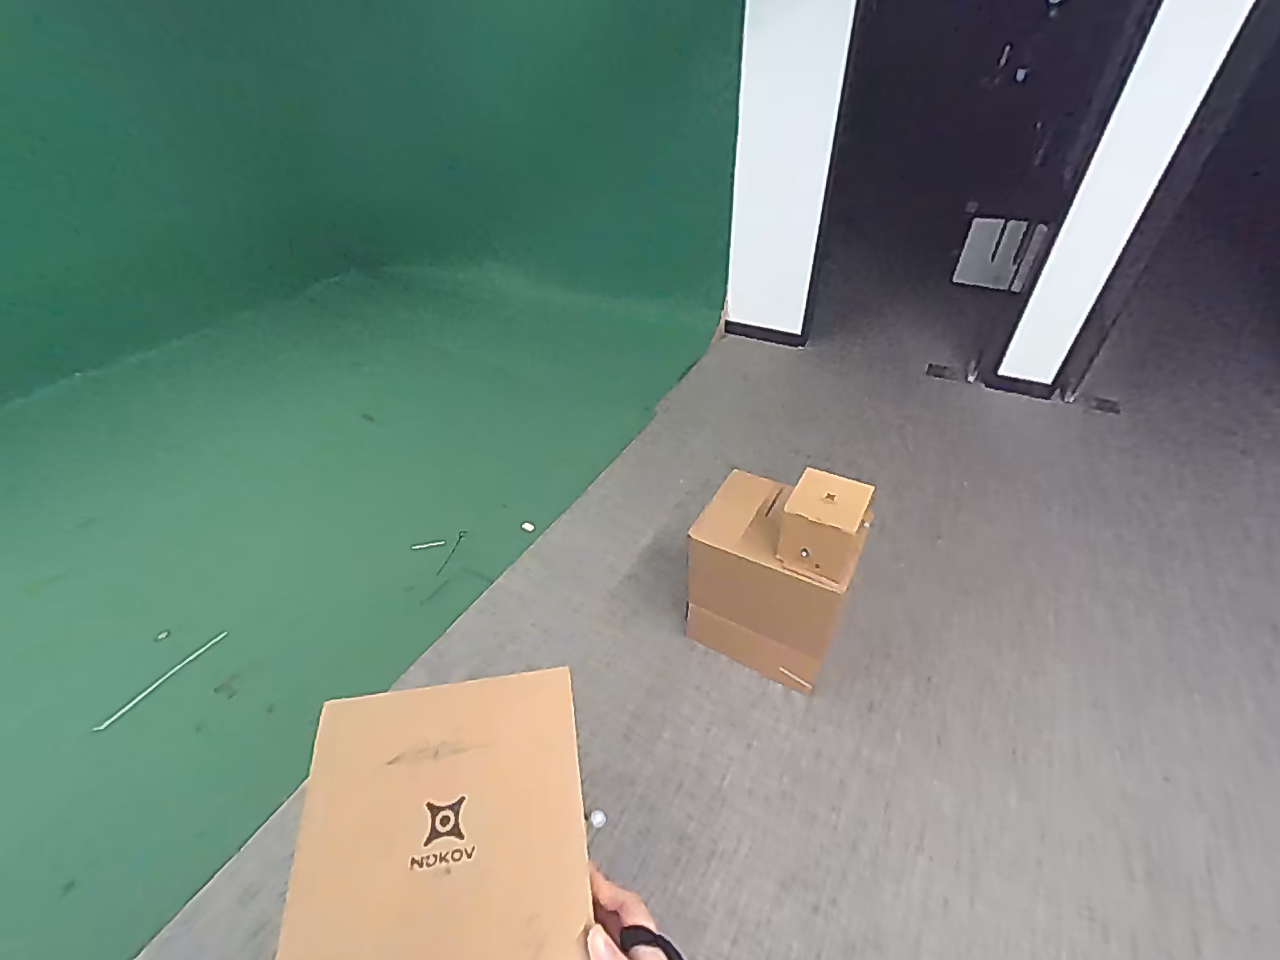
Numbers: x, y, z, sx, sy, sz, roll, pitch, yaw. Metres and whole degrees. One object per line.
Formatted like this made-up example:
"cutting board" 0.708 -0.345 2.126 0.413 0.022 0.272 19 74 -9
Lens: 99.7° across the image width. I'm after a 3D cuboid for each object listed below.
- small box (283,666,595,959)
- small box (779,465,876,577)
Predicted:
"small box" -0.120 0.256 0.389 0.168 0.176 0.179 -3 52 -9
"small box" 0.448 0.099 1.310 0.168 0.176 0.179 21 48 25
